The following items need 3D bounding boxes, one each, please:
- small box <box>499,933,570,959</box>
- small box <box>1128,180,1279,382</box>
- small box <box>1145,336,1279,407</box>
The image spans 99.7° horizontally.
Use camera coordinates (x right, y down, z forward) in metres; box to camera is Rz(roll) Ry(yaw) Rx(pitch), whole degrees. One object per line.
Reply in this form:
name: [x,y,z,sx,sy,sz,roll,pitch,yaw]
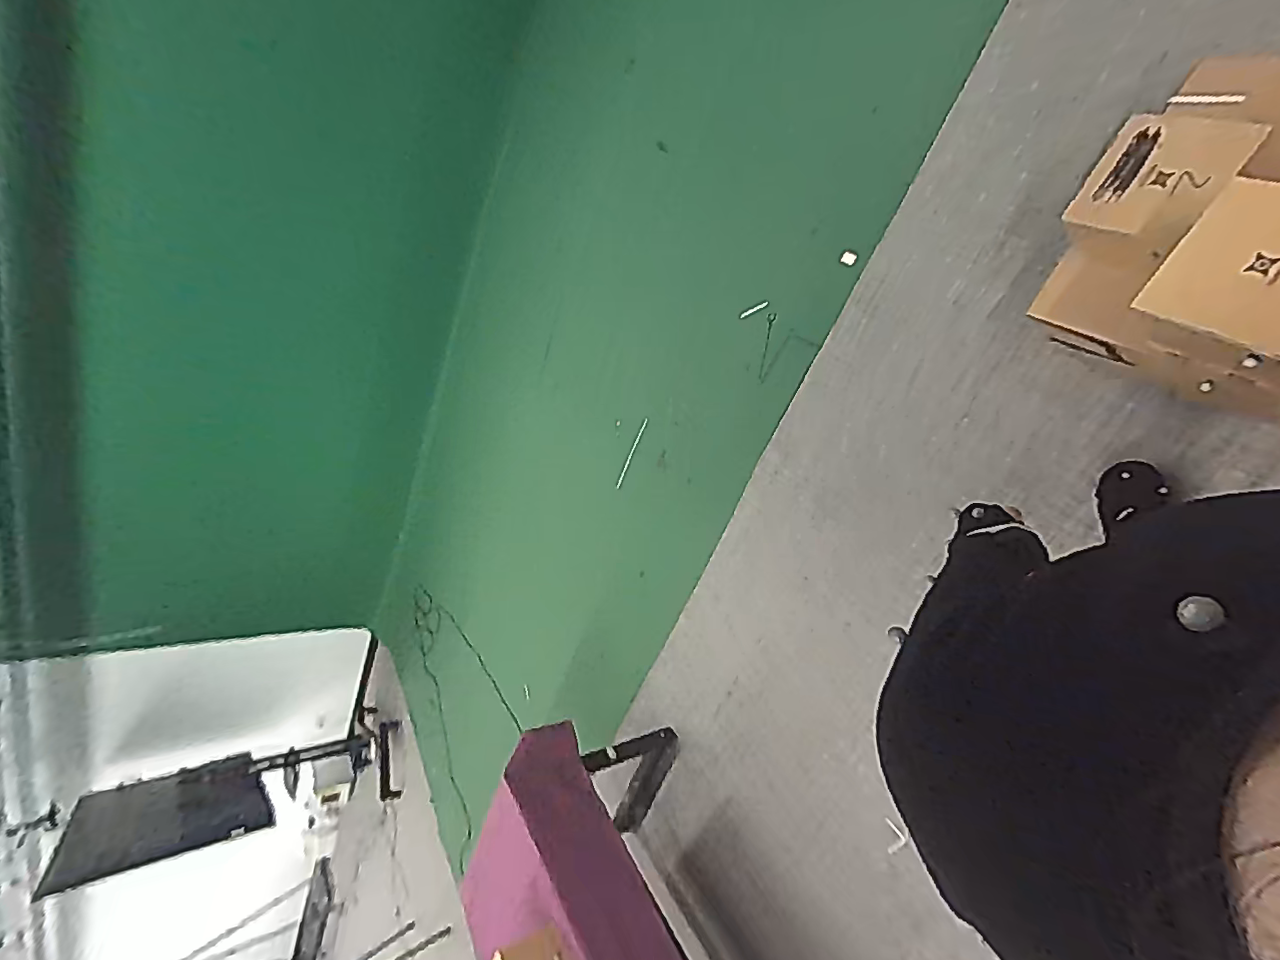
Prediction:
small box: [-0.268,1.298,1.364,0.179,0.176,0.168,44,120,43]
small box: [0.772,-0.238,0.672,0.179,0.176,0.168,46,119,39]
small box: [0.892,-0.226,0.783,0.168,0.176,0.179,46,120,41]
